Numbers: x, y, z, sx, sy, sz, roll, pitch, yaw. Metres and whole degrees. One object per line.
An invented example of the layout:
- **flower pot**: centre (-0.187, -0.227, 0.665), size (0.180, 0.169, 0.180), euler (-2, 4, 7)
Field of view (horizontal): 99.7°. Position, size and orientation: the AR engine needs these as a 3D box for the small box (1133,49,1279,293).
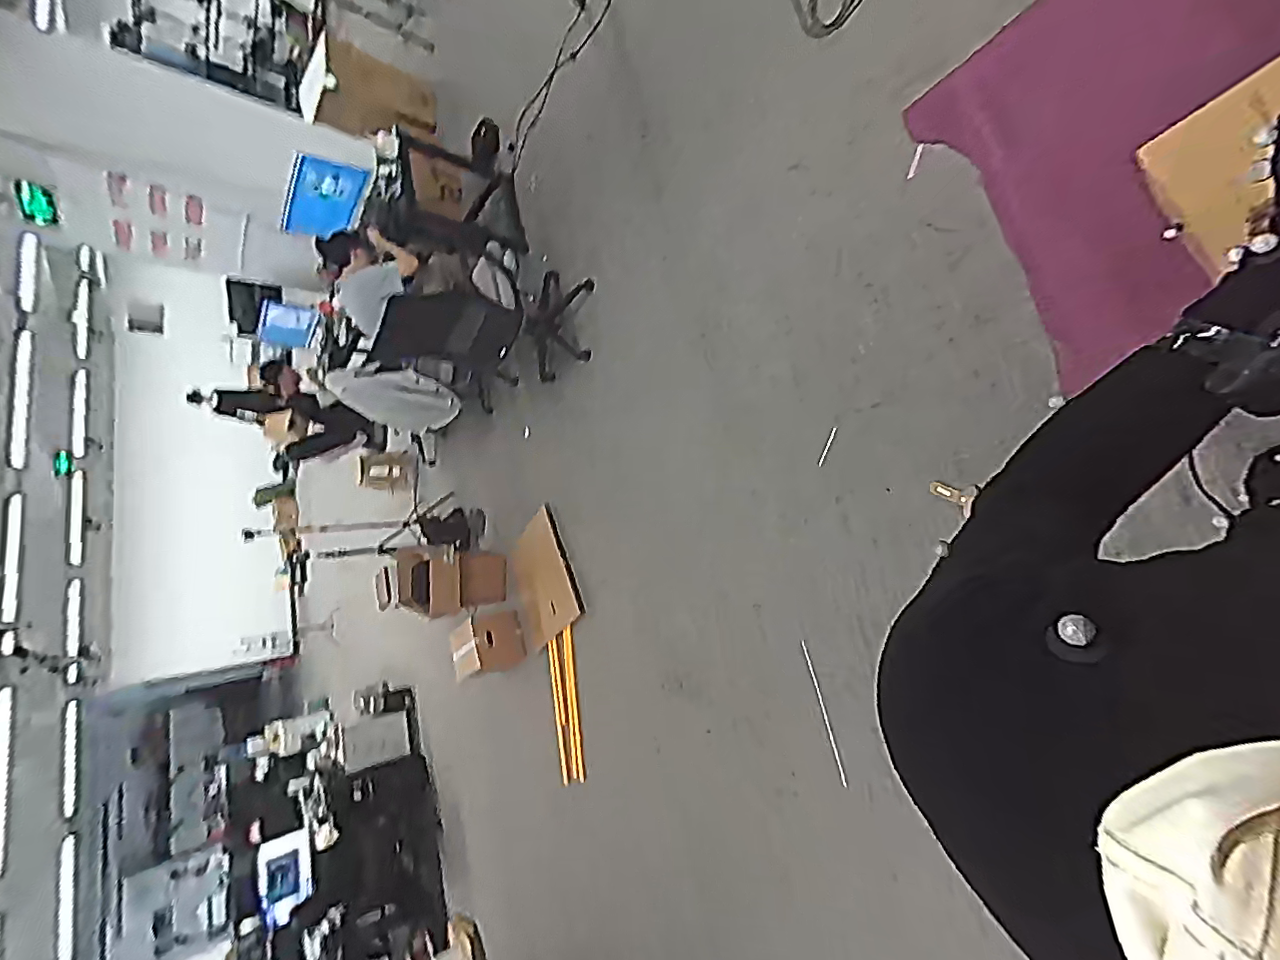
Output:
- **small box**: centre (0.675, -0.319, 0.566), size (0.168, 0.176, 0.179), euler (-33, 64, 45)
